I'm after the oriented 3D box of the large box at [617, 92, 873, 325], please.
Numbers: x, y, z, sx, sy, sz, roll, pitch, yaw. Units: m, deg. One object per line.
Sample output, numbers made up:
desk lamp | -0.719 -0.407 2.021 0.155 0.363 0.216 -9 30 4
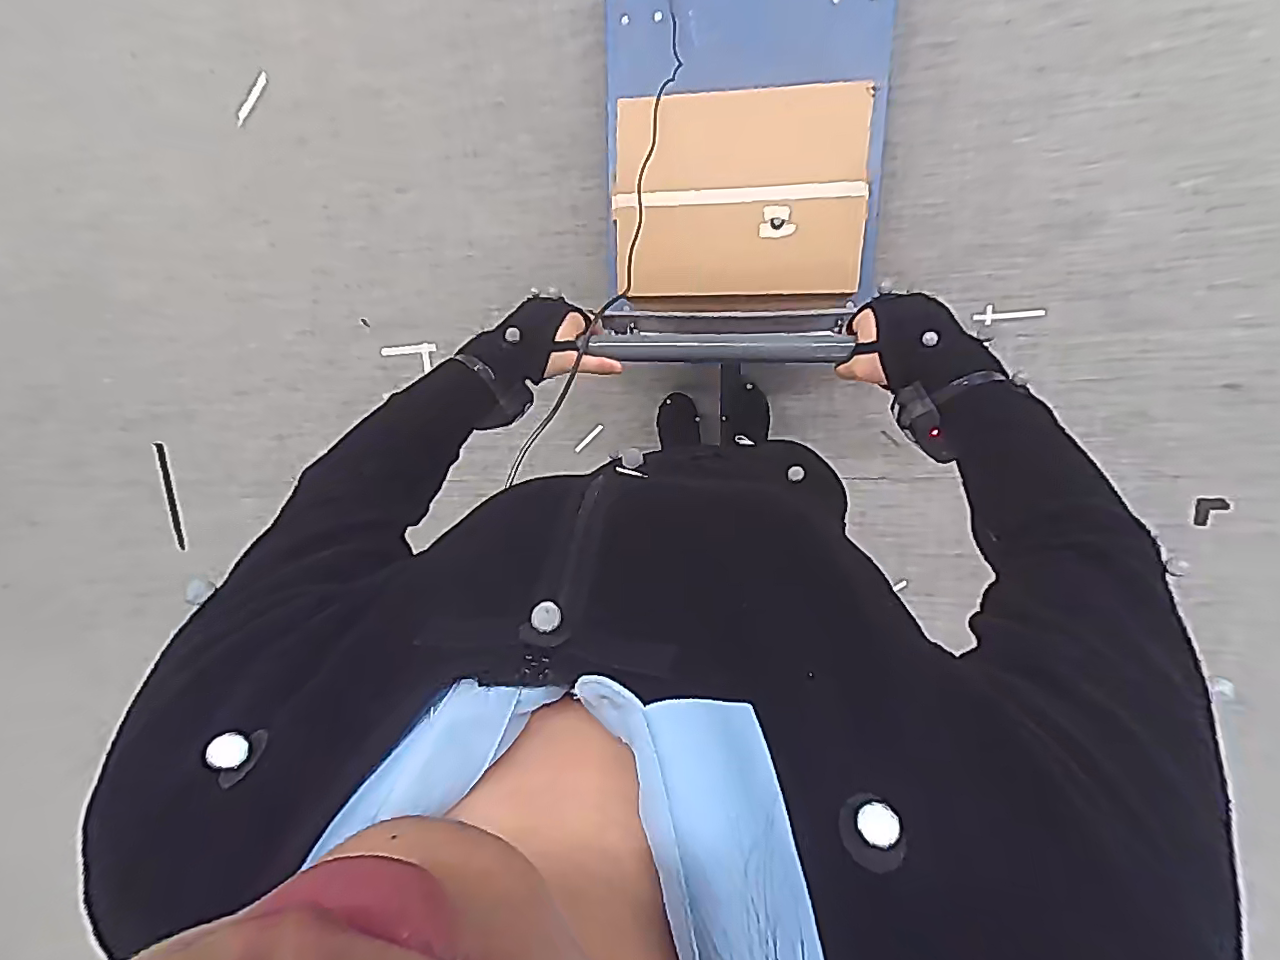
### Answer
large box | 0.181 -0.471 1.022 0.408 0.320 0.320 2 102 9
